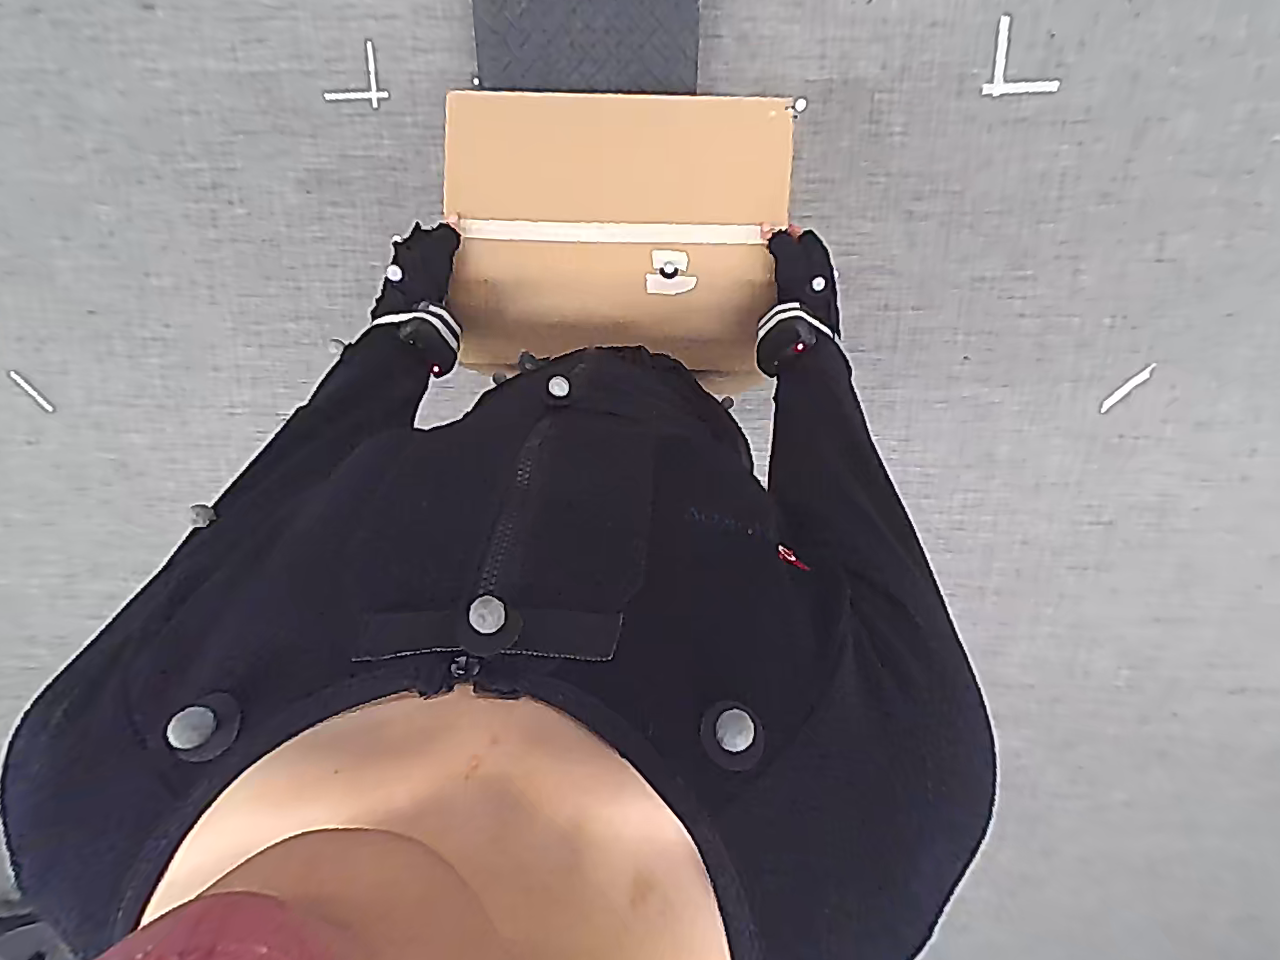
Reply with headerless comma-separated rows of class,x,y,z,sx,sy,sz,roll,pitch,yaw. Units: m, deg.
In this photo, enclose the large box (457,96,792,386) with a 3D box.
large box,-0.021,-0.310,0.797,0.408,0.320,0.320,2,95,1
